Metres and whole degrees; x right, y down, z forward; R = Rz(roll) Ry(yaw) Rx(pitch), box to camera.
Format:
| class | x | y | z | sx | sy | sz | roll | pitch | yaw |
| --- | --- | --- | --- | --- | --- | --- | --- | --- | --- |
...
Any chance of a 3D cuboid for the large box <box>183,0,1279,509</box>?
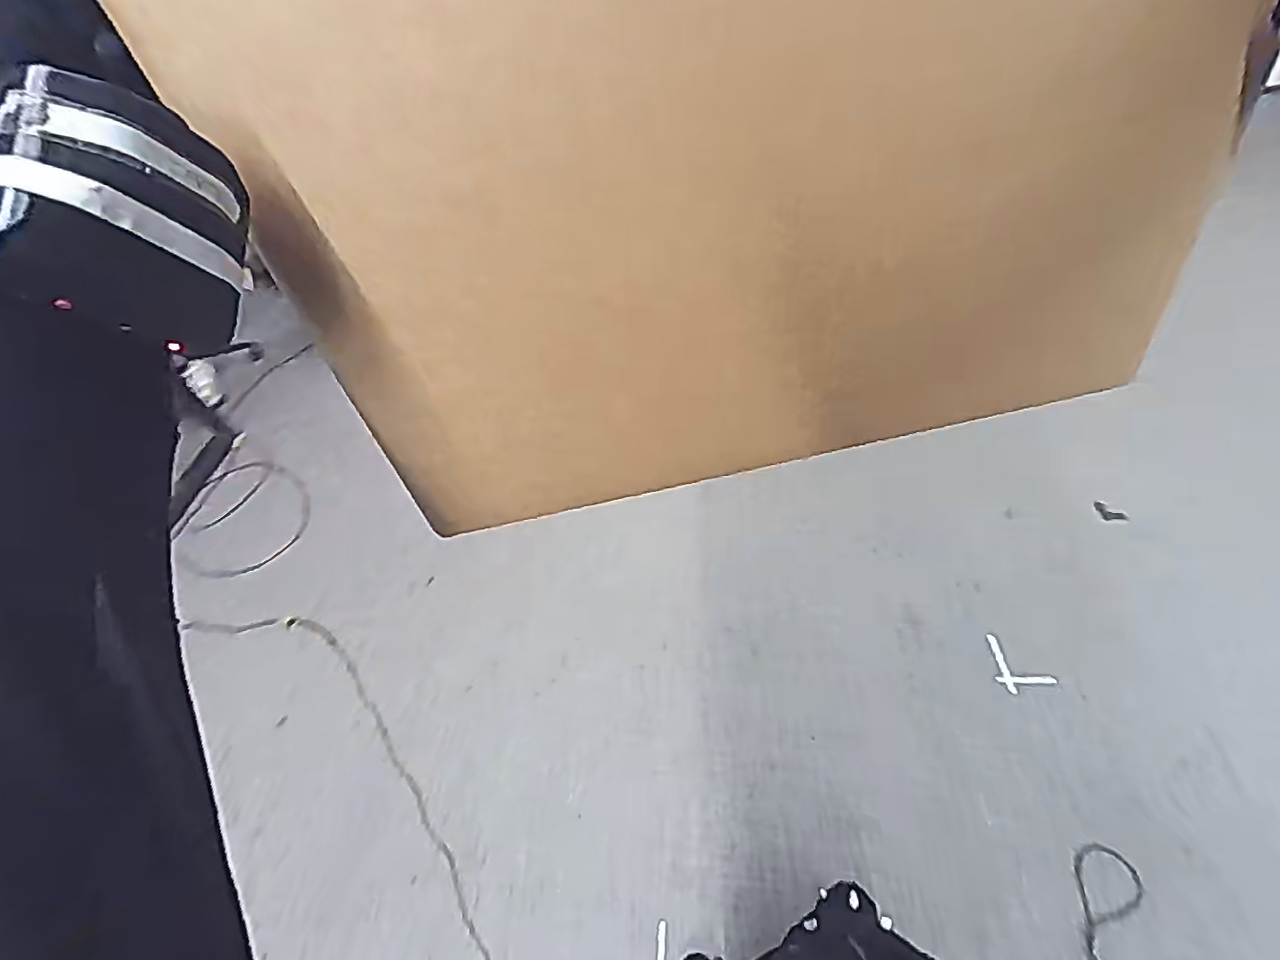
| class | x | y | z | sx | sy | sz | roll | pitch | yaw |
| --- | --- | --- | --- | --- | --- | --- | --- | --- | --- |
| large box | 0.040 | -0.224 | 0.334 | 0.408 | 0.320 | 0.320 | -11 | 39 | 2 |
